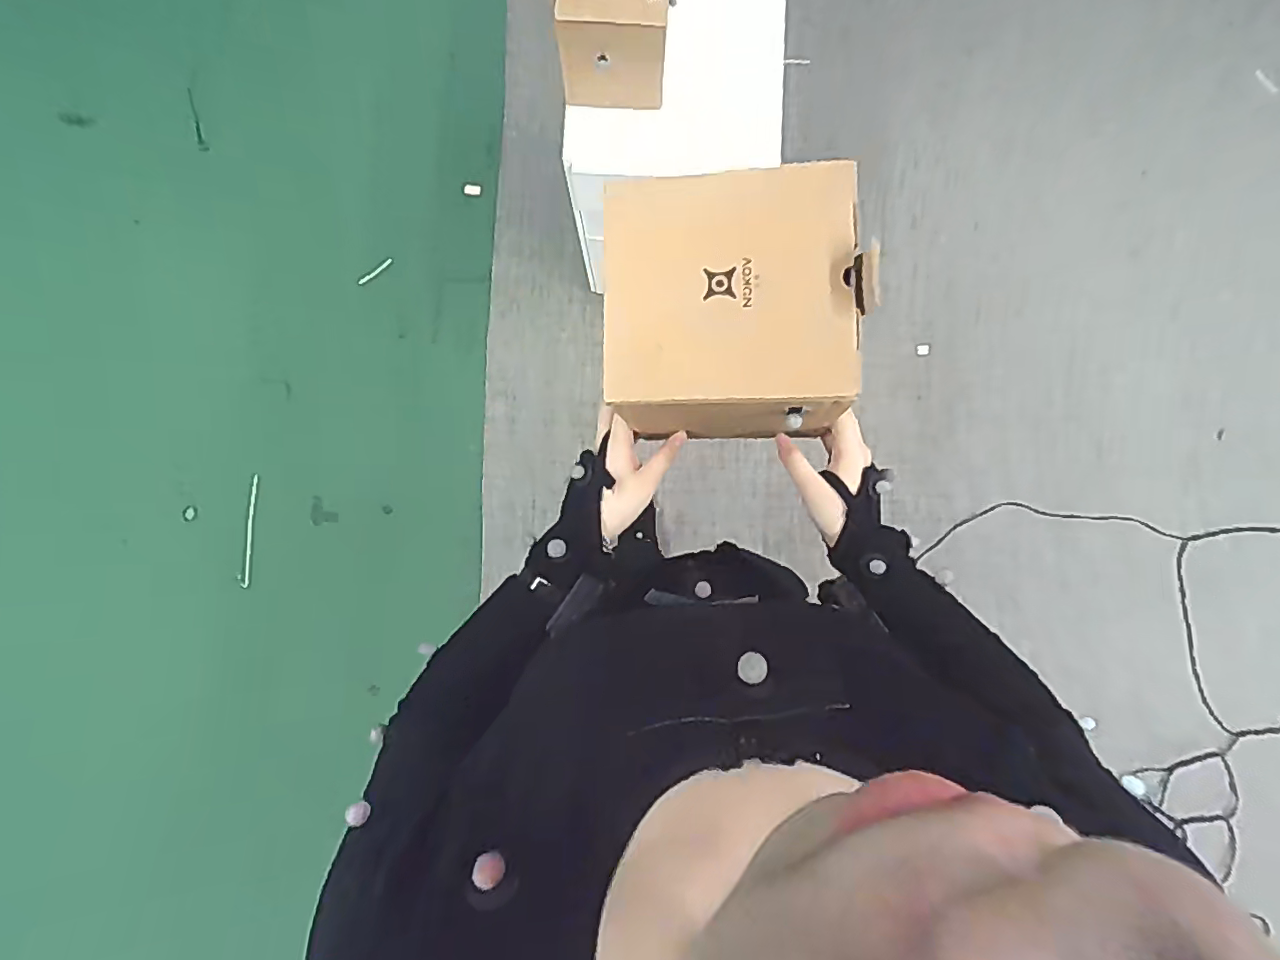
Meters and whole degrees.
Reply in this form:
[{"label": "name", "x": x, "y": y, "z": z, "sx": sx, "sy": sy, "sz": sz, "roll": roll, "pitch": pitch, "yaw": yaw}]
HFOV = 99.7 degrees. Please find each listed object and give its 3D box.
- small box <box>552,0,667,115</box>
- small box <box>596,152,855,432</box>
[{"label": "small box", "x": -0.044, "y": -0.756, "z": 0.915, "sx": 0.179, "sy": 0.176, "sz": 0.168, "roll": 2, "pitch": 84, "yaw": 0}, {"label": "small box", "x": 0.068, "y": -0.134, "z": 0.451, "sx": 0.179, "sy": 0.176, "sz": 0.168, "roll": 0, "pitch": 85, "yaw": 8}]
